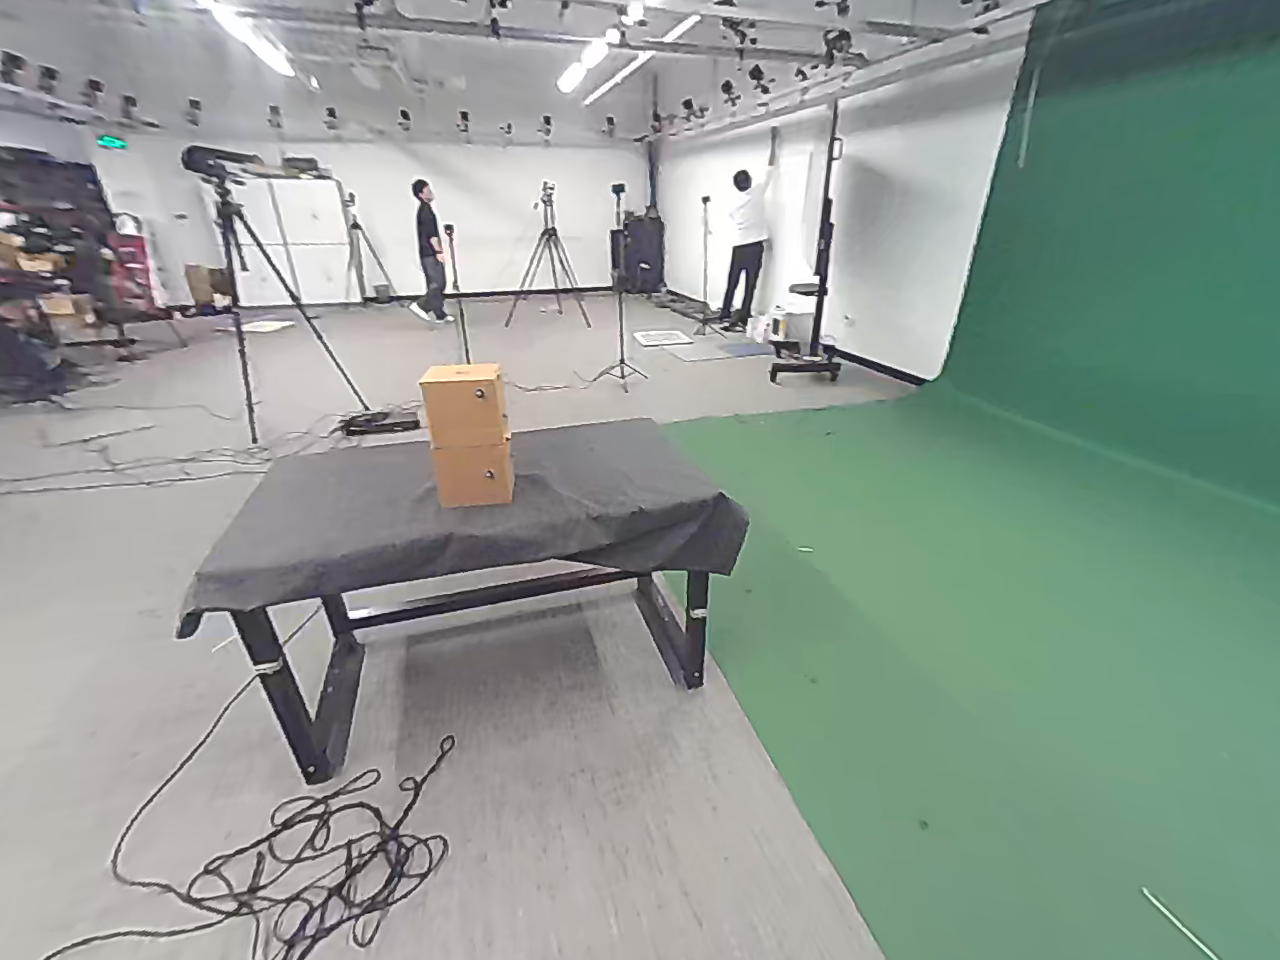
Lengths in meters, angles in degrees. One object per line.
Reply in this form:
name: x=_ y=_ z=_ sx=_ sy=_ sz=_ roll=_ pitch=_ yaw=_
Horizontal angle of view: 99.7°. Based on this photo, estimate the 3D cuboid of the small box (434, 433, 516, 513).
small box: x=-0.426 y=-0.027 z=1.425 sx=0.179 sy=0.176 sz=0.168 roll=-5 pitch=25 yaw=-7

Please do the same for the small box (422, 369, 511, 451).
small box: x=-0.428 y=-0.176 z=1.359 sx=0.179 sy=0.176 sz=0.168 roll=-3 pitch=25 yaw=-8
